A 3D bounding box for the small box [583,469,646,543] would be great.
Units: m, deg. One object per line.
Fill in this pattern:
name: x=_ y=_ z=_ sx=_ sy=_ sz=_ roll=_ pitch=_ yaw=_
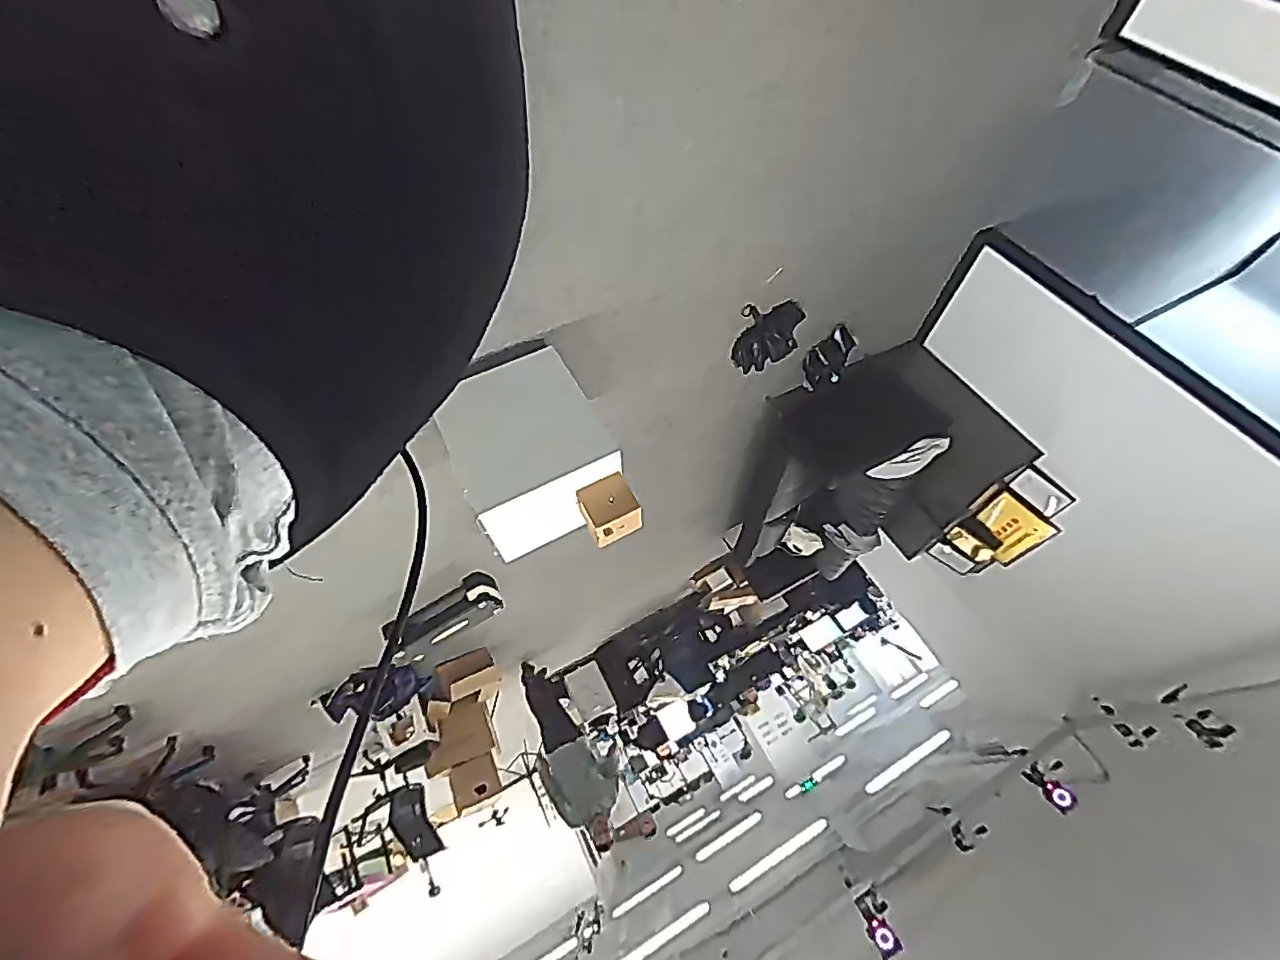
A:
small box: x=-0.094 y=0.092 z=1.929 sx=0.179 sy=0.176 sz=0.168 roll=-26 pitch=154 yaw=-13
